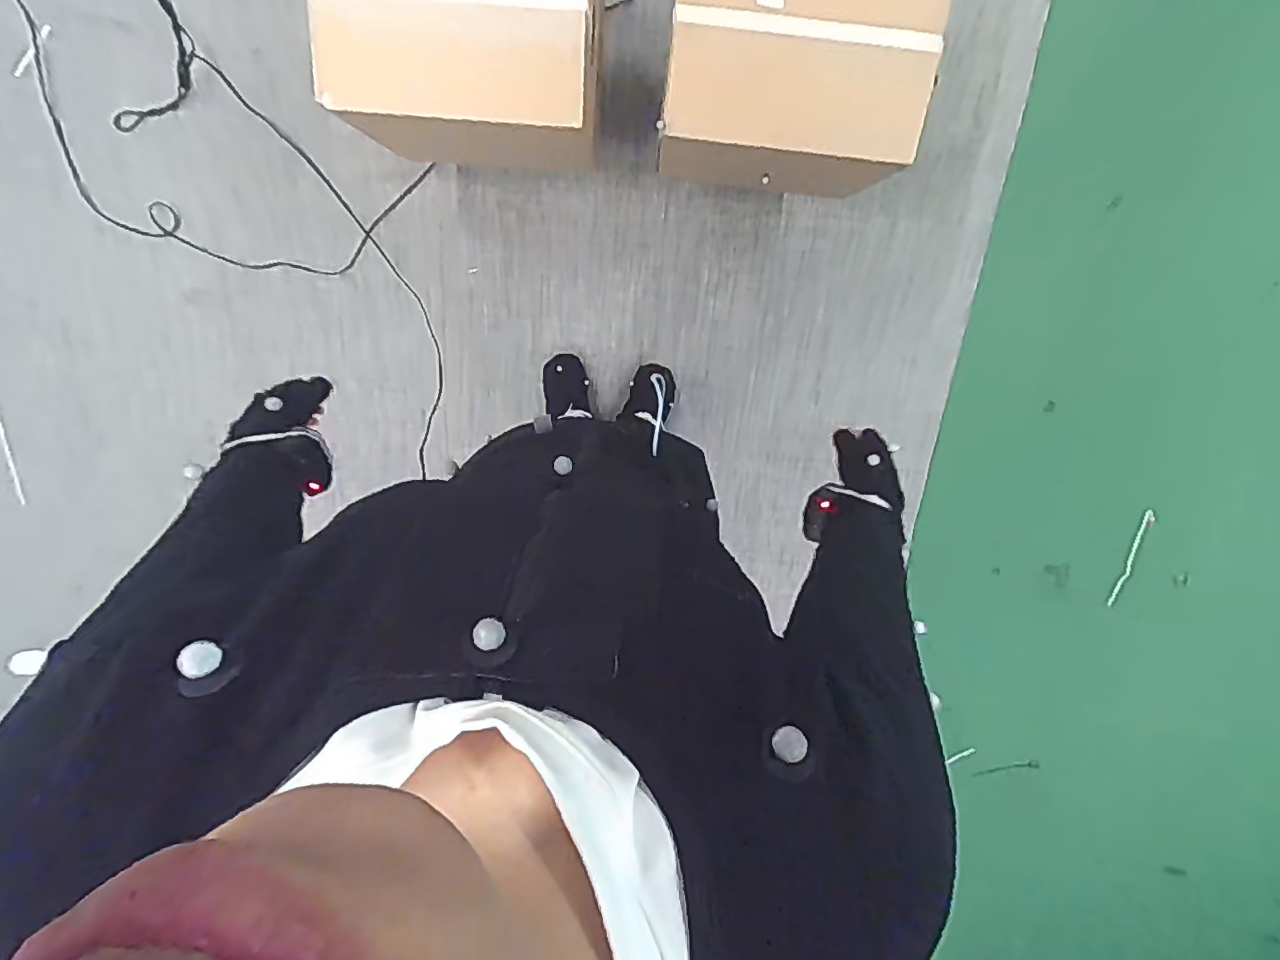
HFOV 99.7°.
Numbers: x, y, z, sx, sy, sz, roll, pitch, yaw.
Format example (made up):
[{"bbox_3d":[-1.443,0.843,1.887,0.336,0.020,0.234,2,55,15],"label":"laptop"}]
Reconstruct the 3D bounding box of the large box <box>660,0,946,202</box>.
[{"bbox_3d":[0.255,-0.708,0.968,0.408,0.320,0.320,6,107,-2],"label":"large box"}]
